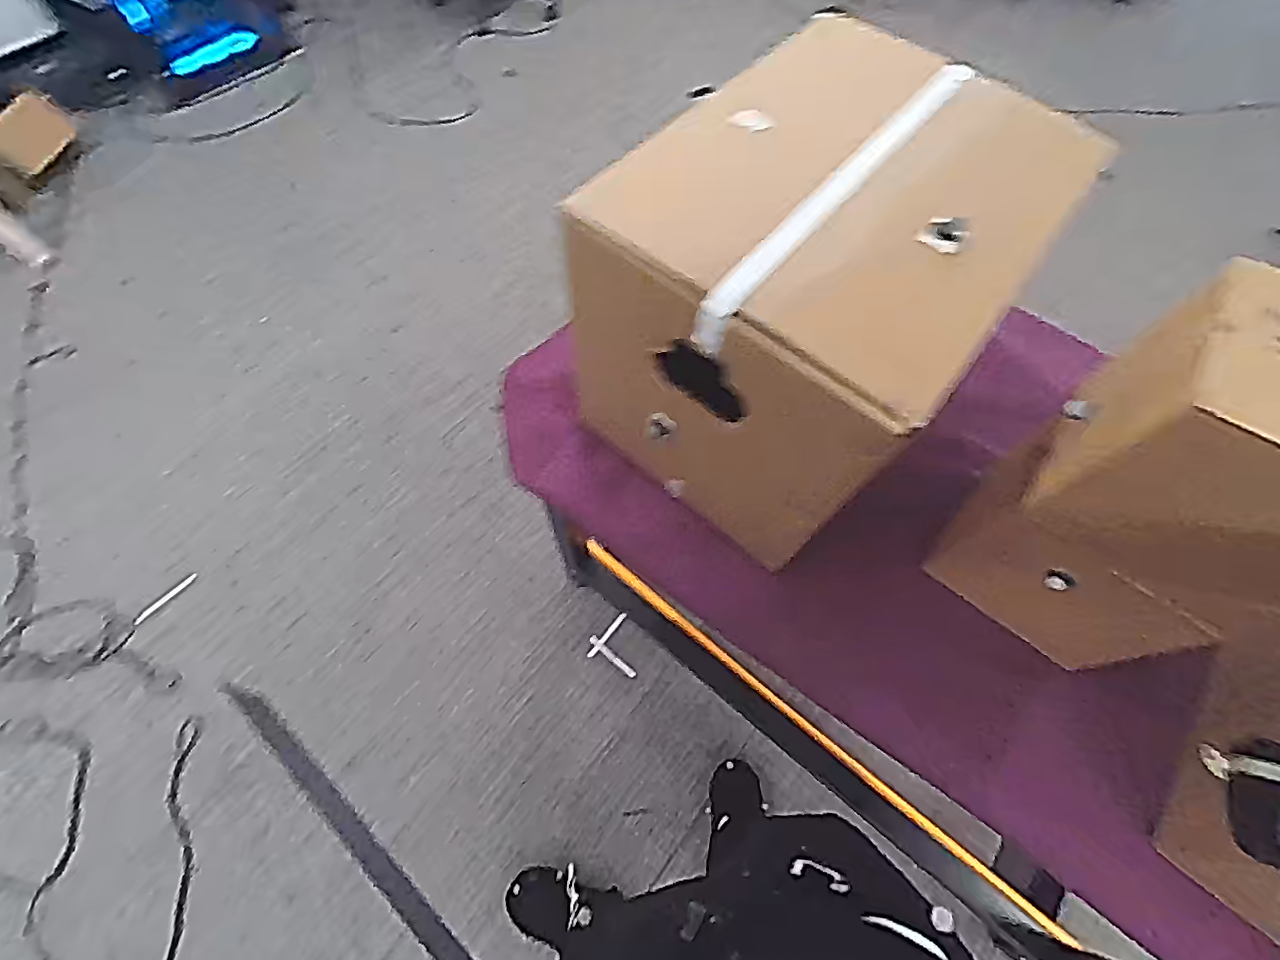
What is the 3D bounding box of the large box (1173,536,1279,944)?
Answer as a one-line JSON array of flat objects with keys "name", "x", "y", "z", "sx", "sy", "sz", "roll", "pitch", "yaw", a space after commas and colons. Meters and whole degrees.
[{"name": "large box", "x": 0.713, "y": 0.222, "z": 0.387, "sx": 0.320, "sy": 0.320, "sz": 0.408, "roll": 37, "pitch": 67, "yaw": 16}]
